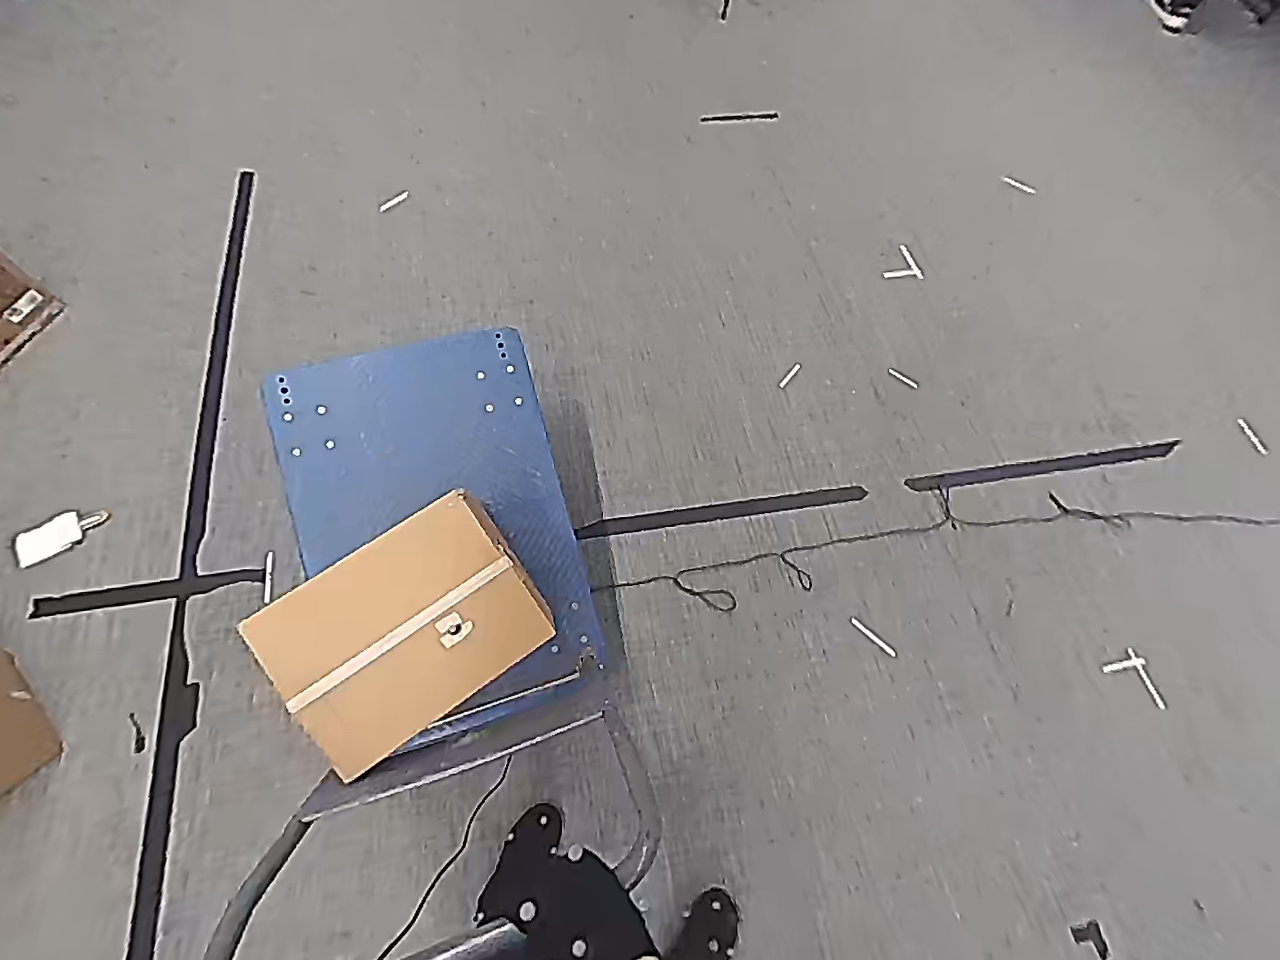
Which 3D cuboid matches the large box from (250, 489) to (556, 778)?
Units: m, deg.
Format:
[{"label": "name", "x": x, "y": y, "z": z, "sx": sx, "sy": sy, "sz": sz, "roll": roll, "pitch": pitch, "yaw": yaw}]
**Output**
[{"label": "large box", "x": -0.419, "y": 0.270, "z": 1.059, "sx": 0.408, "sy": 0.320, "sz": 0.320, "roll": -35, "pitch": 91, "yaw": -14}]
